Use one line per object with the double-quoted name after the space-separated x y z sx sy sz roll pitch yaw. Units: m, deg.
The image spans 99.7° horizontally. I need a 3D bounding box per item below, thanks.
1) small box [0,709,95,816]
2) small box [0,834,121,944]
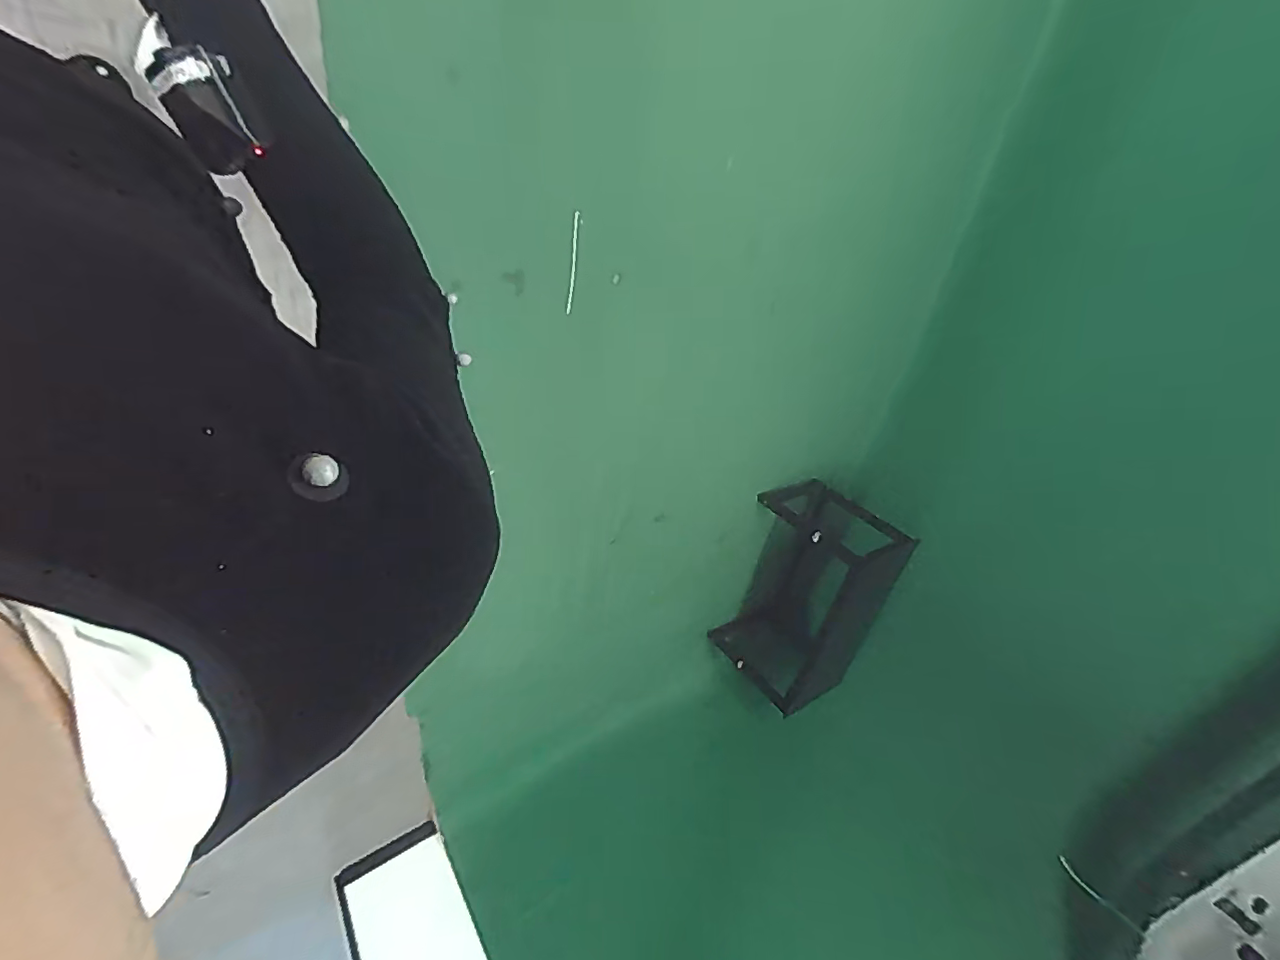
-1.221 0.585 1.072 0.168 0.176 0.179 -11 129 -36 "small box"
-1.177 0.864 1.084 0.168 0.176 0.179 -11 125 -35 "small box"
